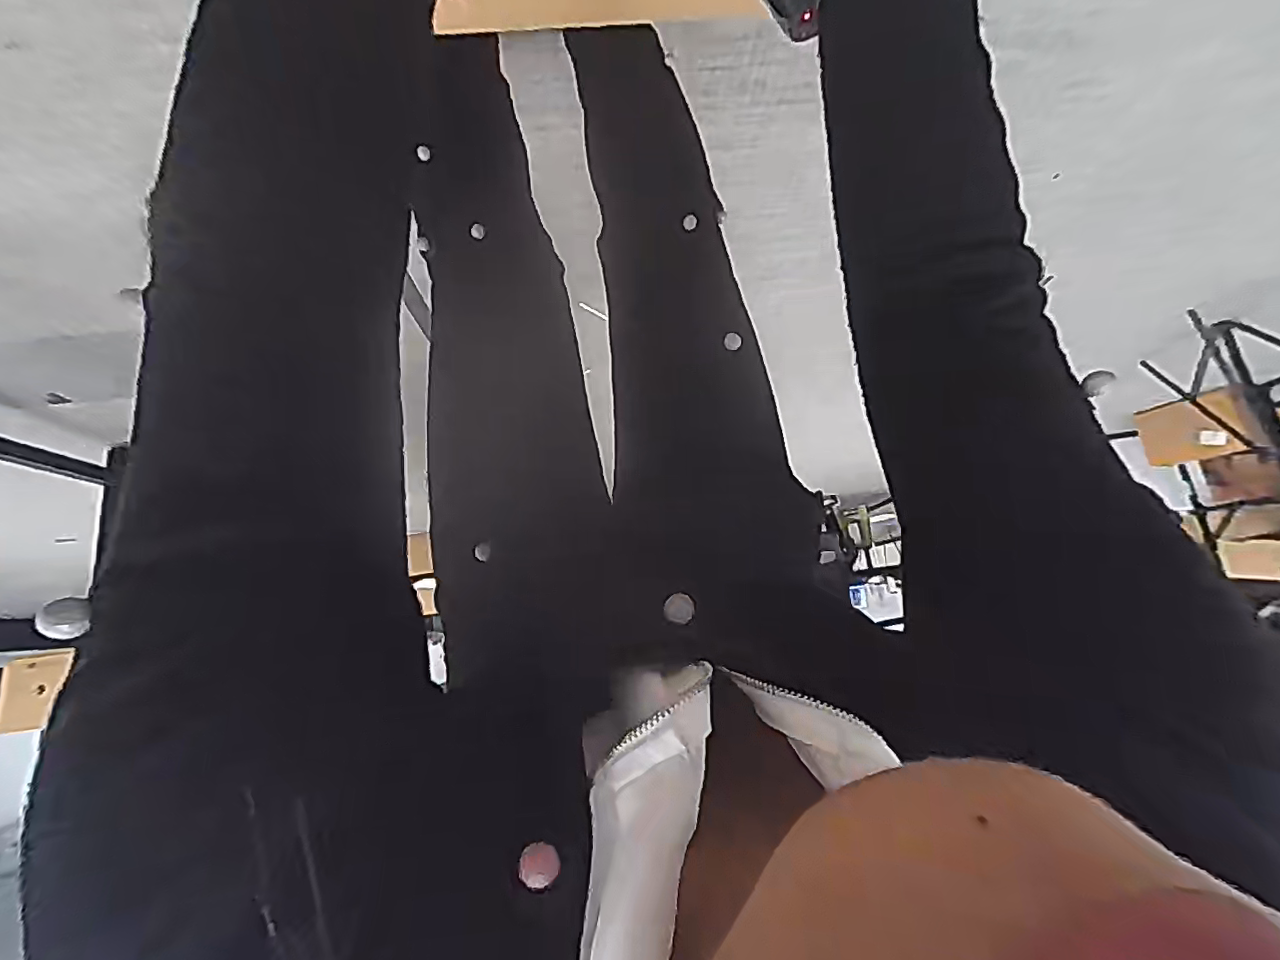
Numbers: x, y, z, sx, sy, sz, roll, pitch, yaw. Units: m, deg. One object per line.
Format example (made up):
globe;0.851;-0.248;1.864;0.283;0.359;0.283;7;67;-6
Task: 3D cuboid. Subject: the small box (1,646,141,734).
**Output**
small box;-1.399;0.513;1.342;0.168;0.176;0.179;-6;166;-5
